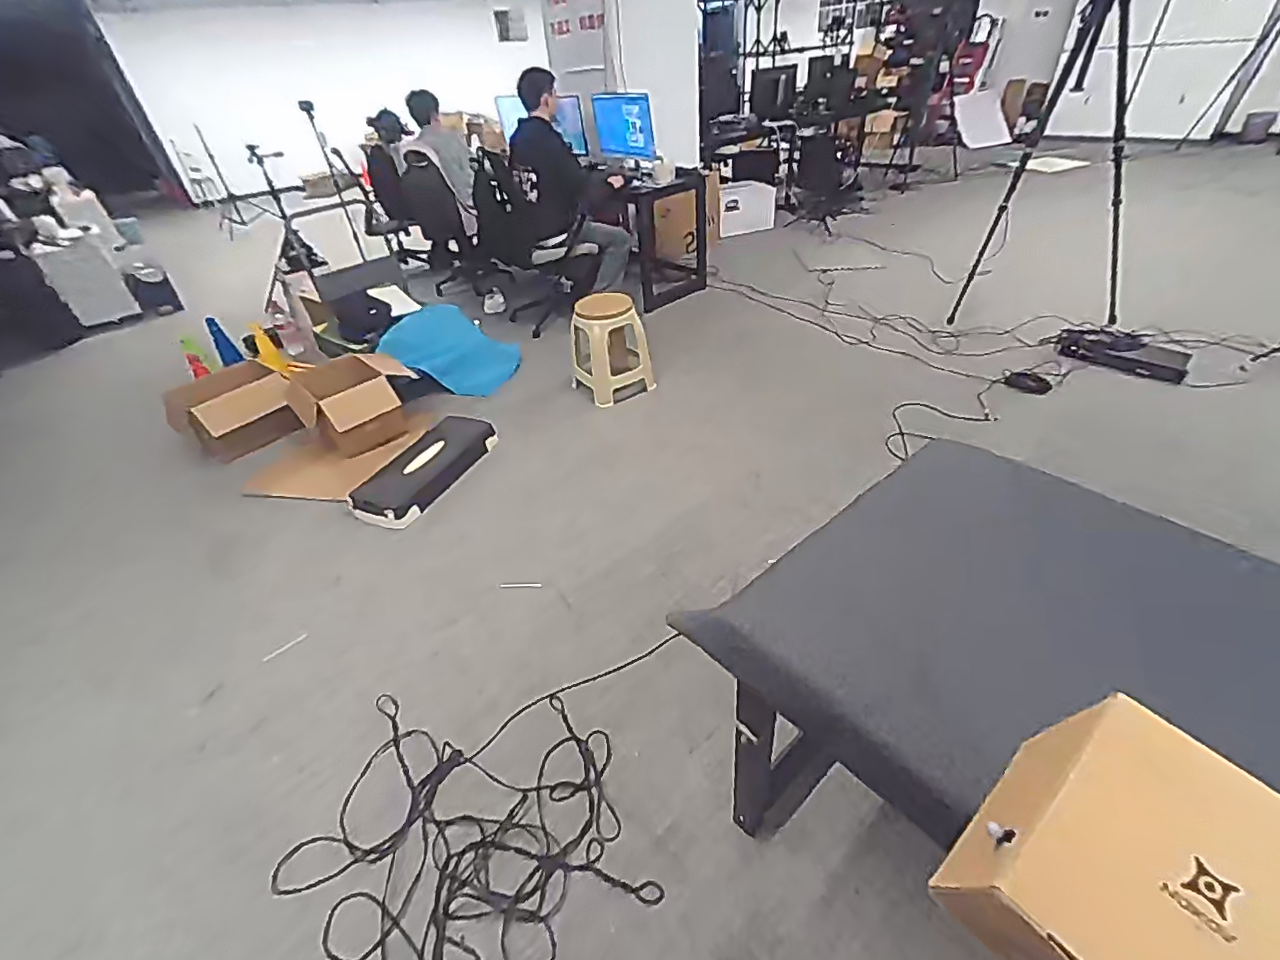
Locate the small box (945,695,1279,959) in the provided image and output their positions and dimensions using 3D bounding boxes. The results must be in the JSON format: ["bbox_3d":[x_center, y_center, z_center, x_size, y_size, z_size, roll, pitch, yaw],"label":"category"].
[{"bbox_3d":[0.359,0.298,0.394,0.179,0.176,0.168,-40,56,-18],"label":"small box"}]
